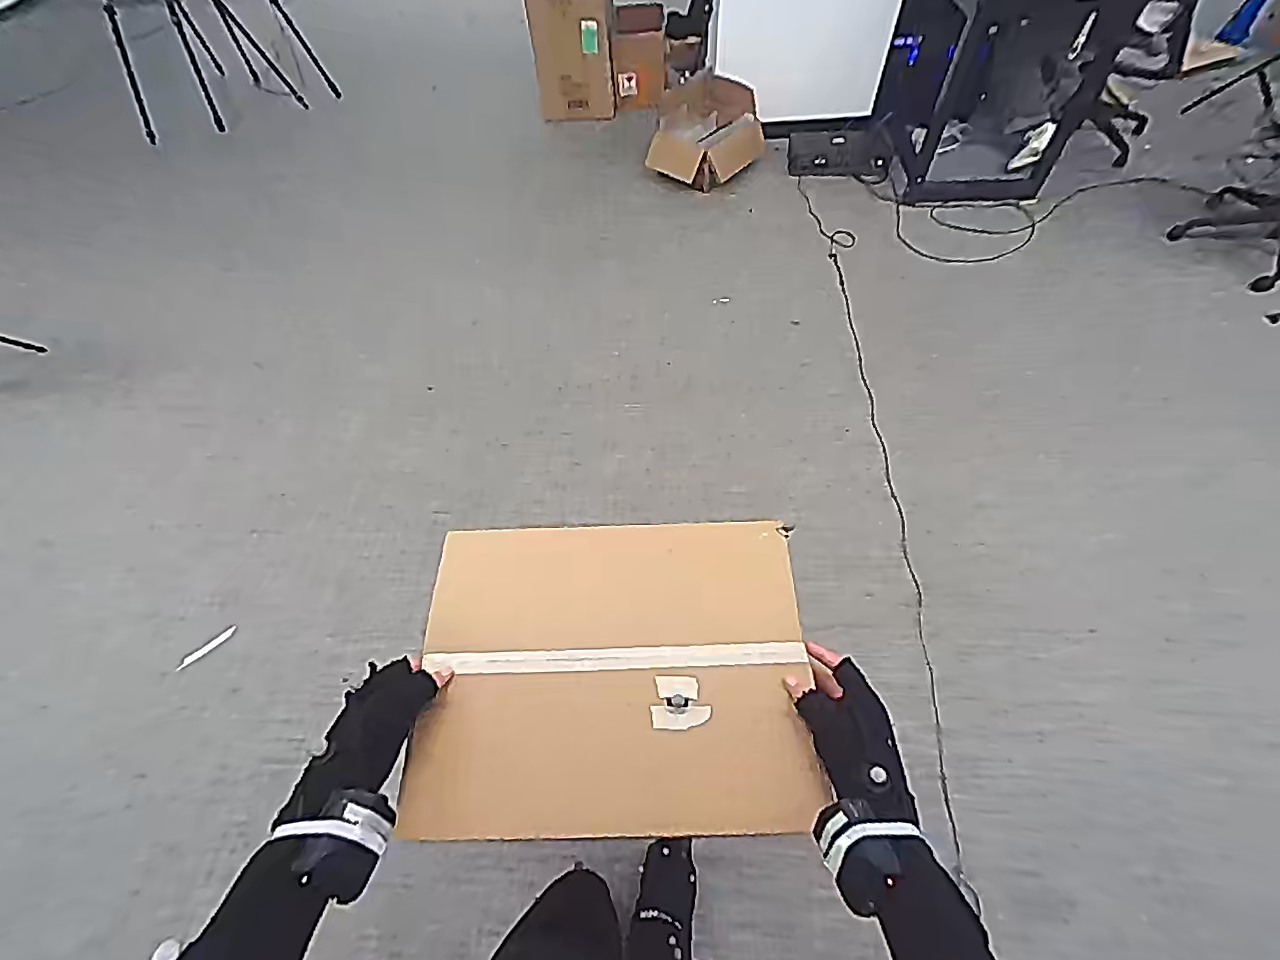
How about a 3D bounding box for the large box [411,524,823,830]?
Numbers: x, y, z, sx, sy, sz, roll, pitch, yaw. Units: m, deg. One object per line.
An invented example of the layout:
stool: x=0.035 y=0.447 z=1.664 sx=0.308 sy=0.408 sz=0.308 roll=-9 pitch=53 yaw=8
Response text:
large box: x=-0.025 y=0.270 z=0.717 sx=0.408 sy=0.320 sz=0.320 roll=-2 pitch=59 yaw=0
